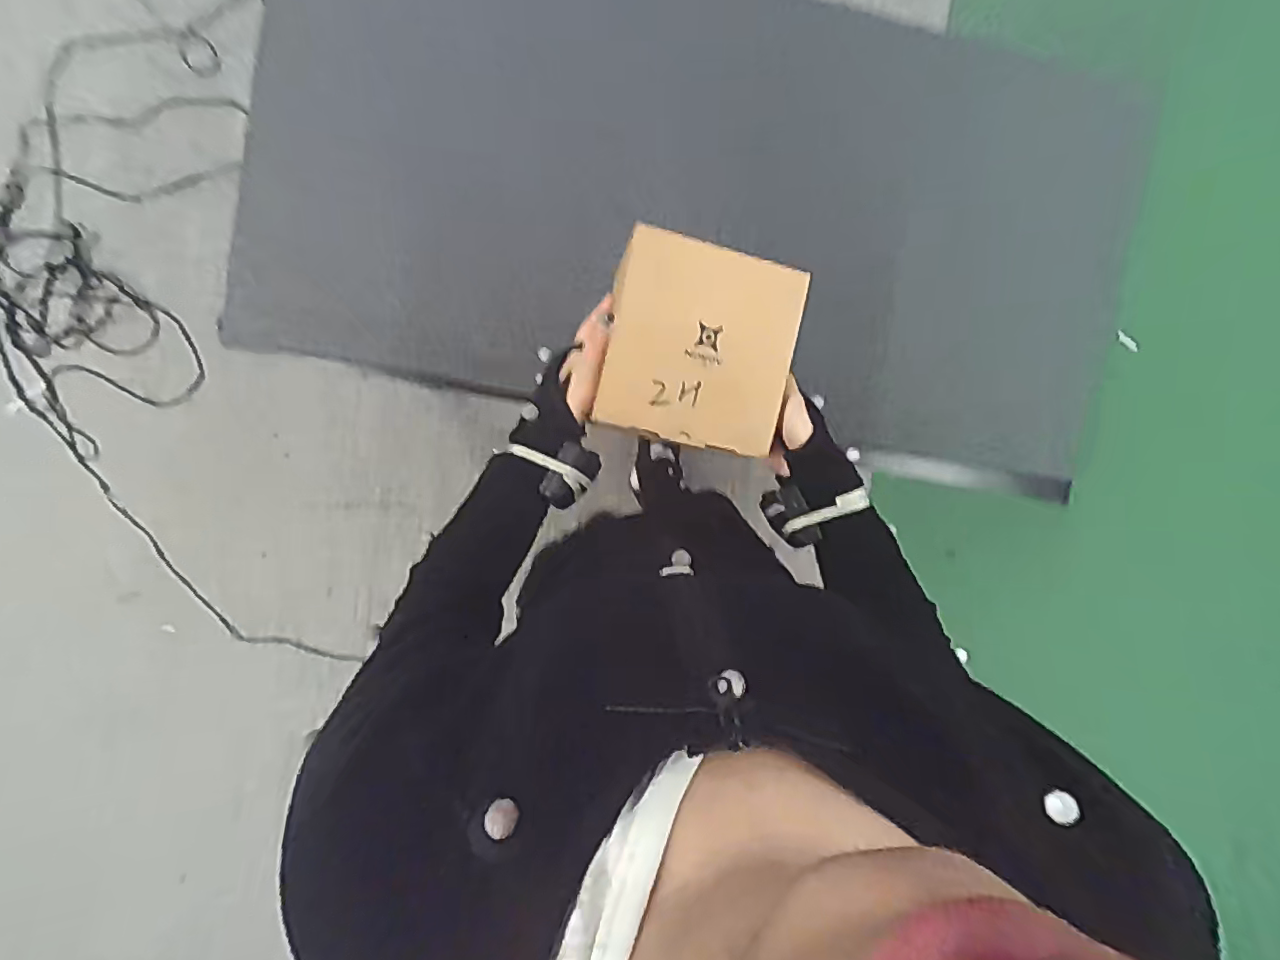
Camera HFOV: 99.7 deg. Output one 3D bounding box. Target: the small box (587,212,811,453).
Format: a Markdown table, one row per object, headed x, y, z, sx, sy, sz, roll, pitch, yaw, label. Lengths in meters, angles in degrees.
| x | y | z | sx | sy | sz | roll | pitch | yaw | label |
| --- | --- | --- | --- | --- | --- | --- | --- | --- | --- |
| 0.045 | -0.130 | 0.550 | 0.168 | 0.176 | 0.179 | 13 | 91 | -9 | small box |
